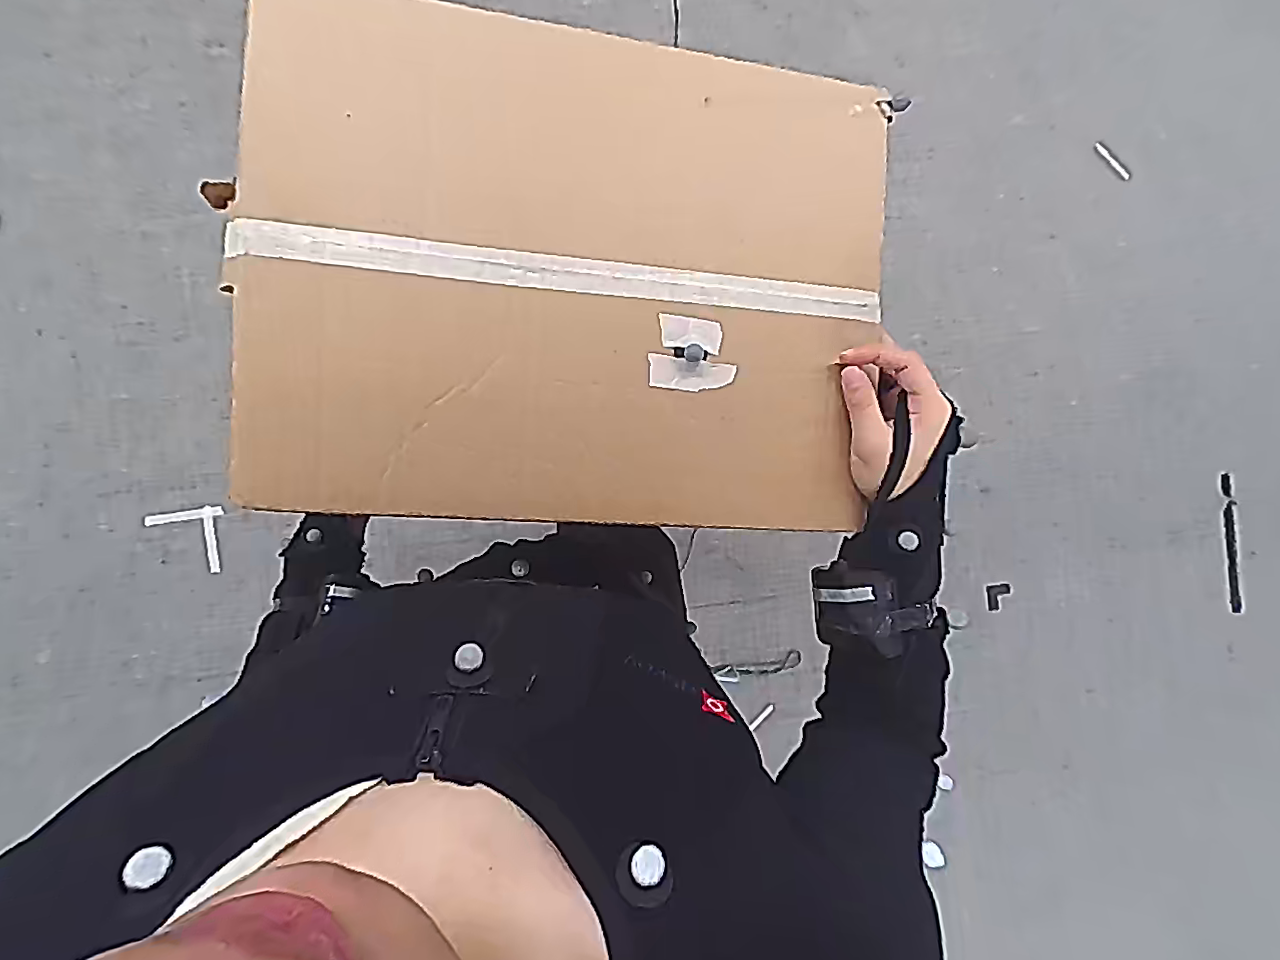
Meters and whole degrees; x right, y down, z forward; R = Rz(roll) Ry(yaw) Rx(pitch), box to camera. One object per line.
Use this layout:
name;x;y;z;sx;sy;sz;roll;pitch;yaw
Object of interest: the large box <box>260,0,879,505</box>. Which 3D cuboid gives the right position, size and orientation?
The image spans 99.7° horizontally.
large box;-0.056;-0.143;0.500;0.408;0.320;0.320;3;91;-11
